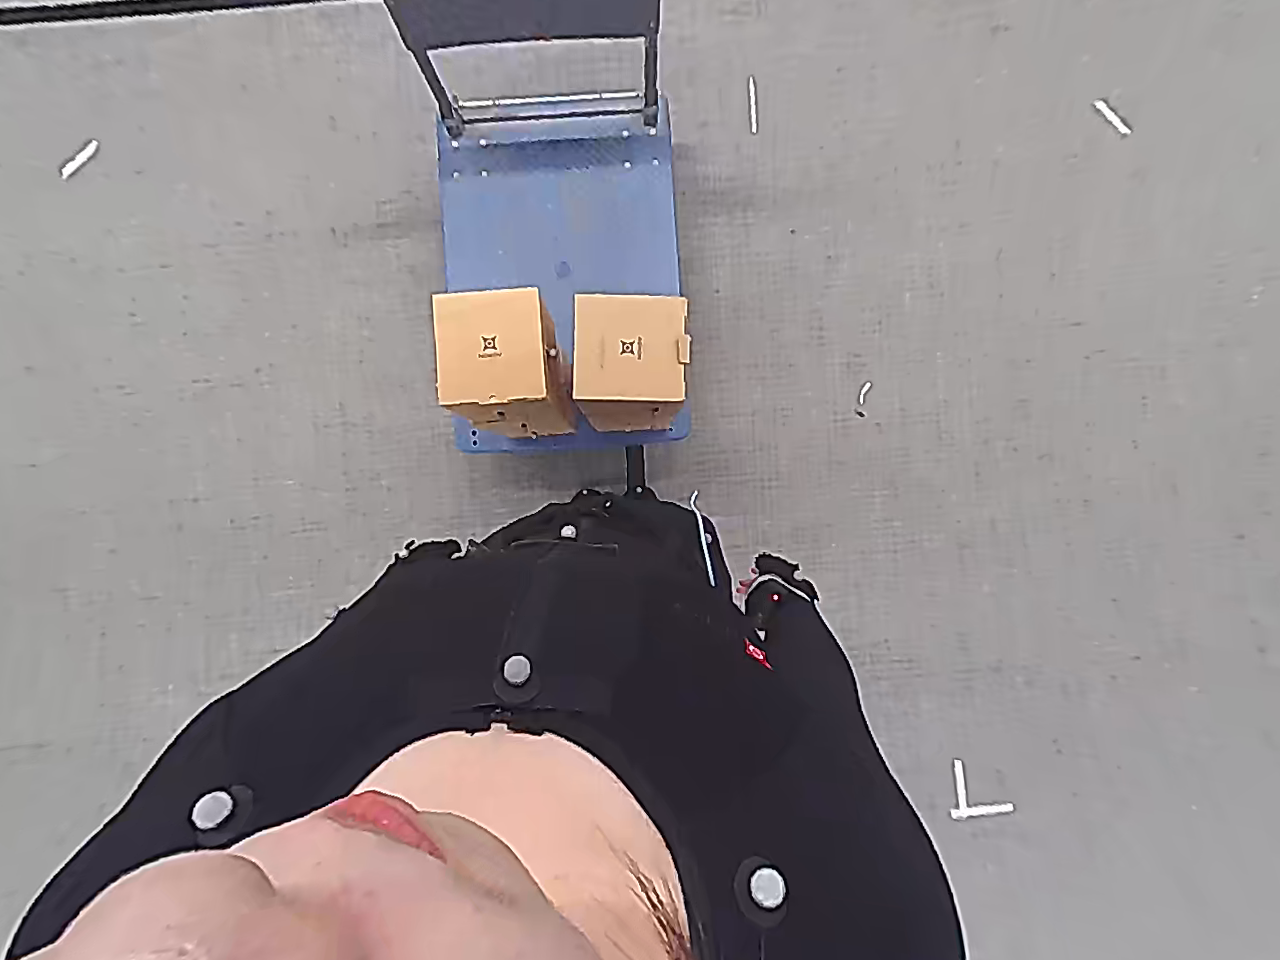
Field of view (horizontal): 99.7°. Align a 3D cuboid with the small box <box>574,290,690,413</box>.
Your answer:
[{"bbox_3d":[-0.013,-0.207,0.914,0.179,0.176,0.168,2,89,0],"label":"small box"}]

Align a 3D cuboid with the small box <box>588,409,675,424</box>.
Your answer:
[{"bbox_3d":[-0.020,-0.210,1.078,0.168,0.176,0.179,-2,90,-1],"label":"small box"}]

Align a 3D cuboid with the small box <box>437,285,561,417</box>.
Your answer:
[{"bbox_3d":[-0.229,-0.208,0.911,0.168,0.176,0.179,-4,90,-1],"label":"small box"}]

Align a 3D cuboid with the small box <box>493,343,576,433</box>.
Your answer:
[{"bbox_3d":[-0.242,-0.203,1.239,0.168,0.176,0.179,-5,89,-1],"label":"small box"}]

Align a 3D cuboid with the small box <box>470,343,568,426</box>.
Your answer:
[{"bbox_3d":[-0.241,-0.203,1.074,0.168,0.176,0.179,-7,90,-1],"label":"small box"}]
